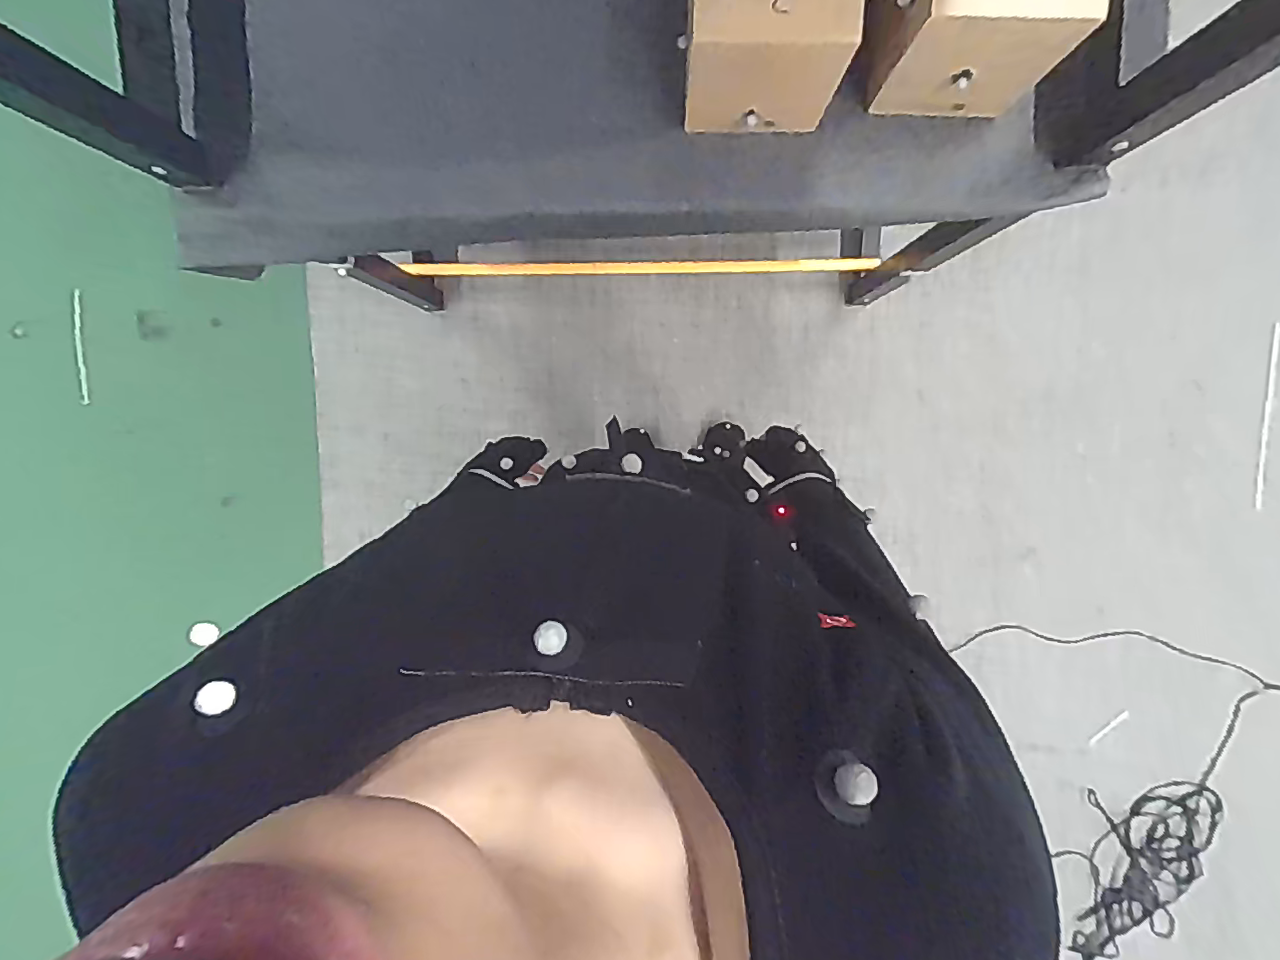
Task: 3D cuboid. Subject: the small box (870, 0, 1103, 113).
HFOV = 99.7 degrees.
[{"bbox_3d":[0.366,-0.535,0.588,0.168,0.176,0.179,3,96,2],"label":"small box"}]
